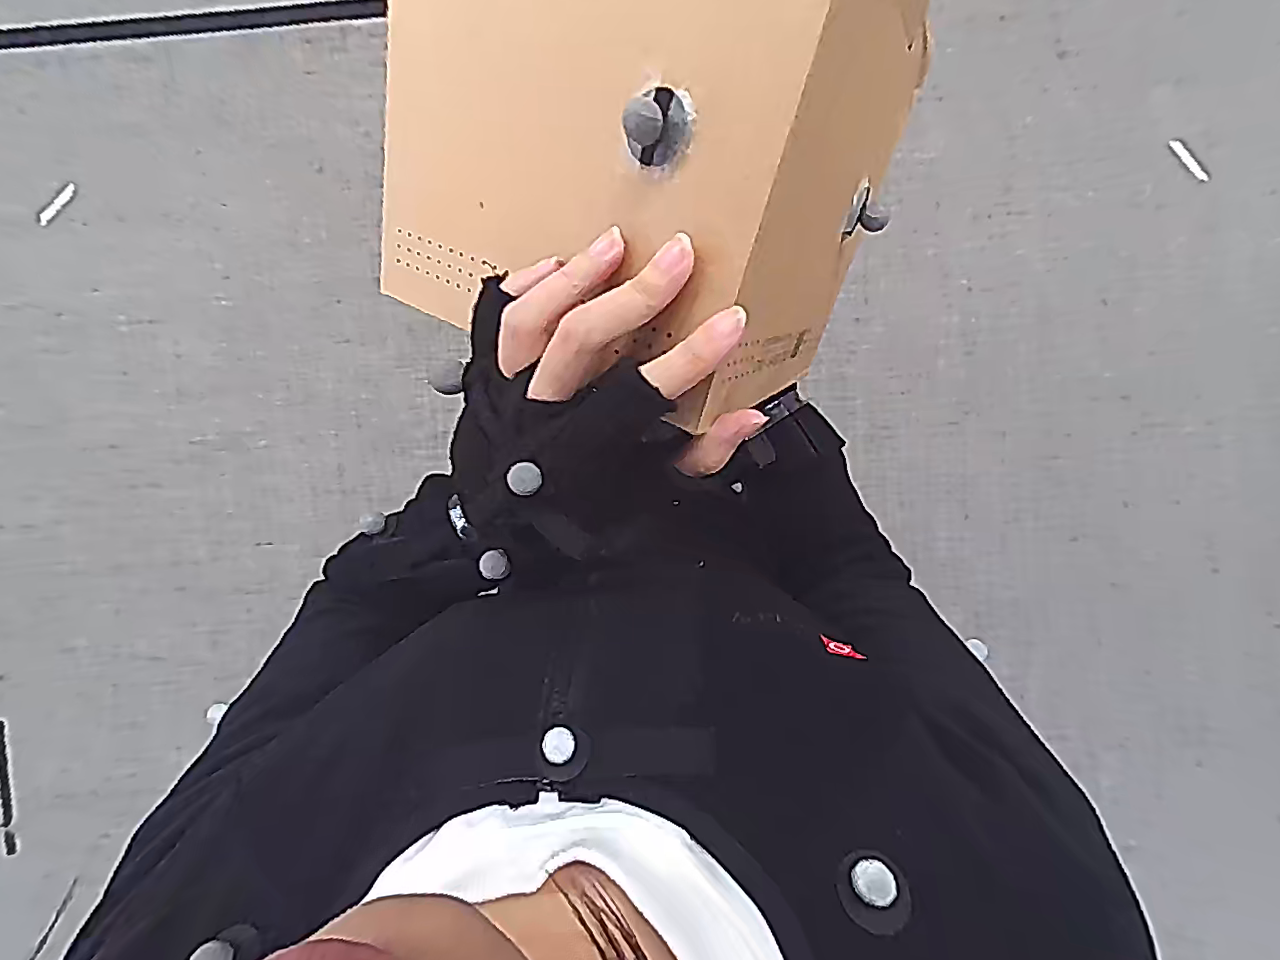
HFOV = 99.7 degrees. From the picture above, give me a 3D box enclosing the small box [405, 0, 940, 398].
[{"bbox_3d":[0.012,-0.147,0.261,0.179,0.168,0.176,27,118,21],"label":"small box"}]
